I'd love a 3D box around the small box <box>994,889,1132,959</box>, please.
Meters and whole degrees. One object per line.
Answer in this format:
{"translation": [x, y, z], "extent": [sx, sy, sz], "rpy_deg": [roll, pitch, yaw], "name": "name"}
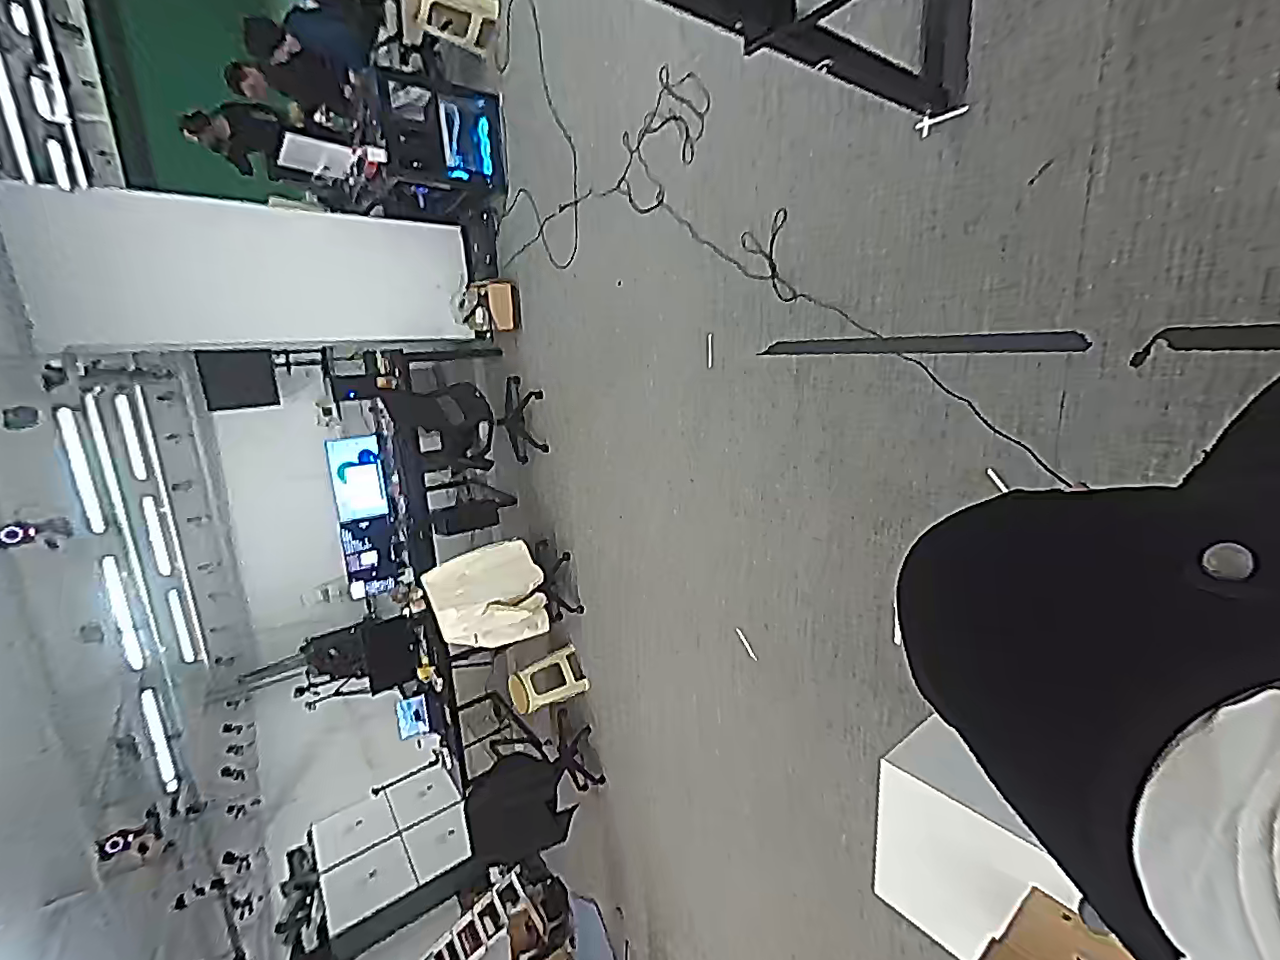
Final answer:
{"translation": [0.755, 0.899, 0.970], "extent": [0.168, 0.176, 0.179], "rpy_deg": [15, 113, 52], "name": "small box"}
